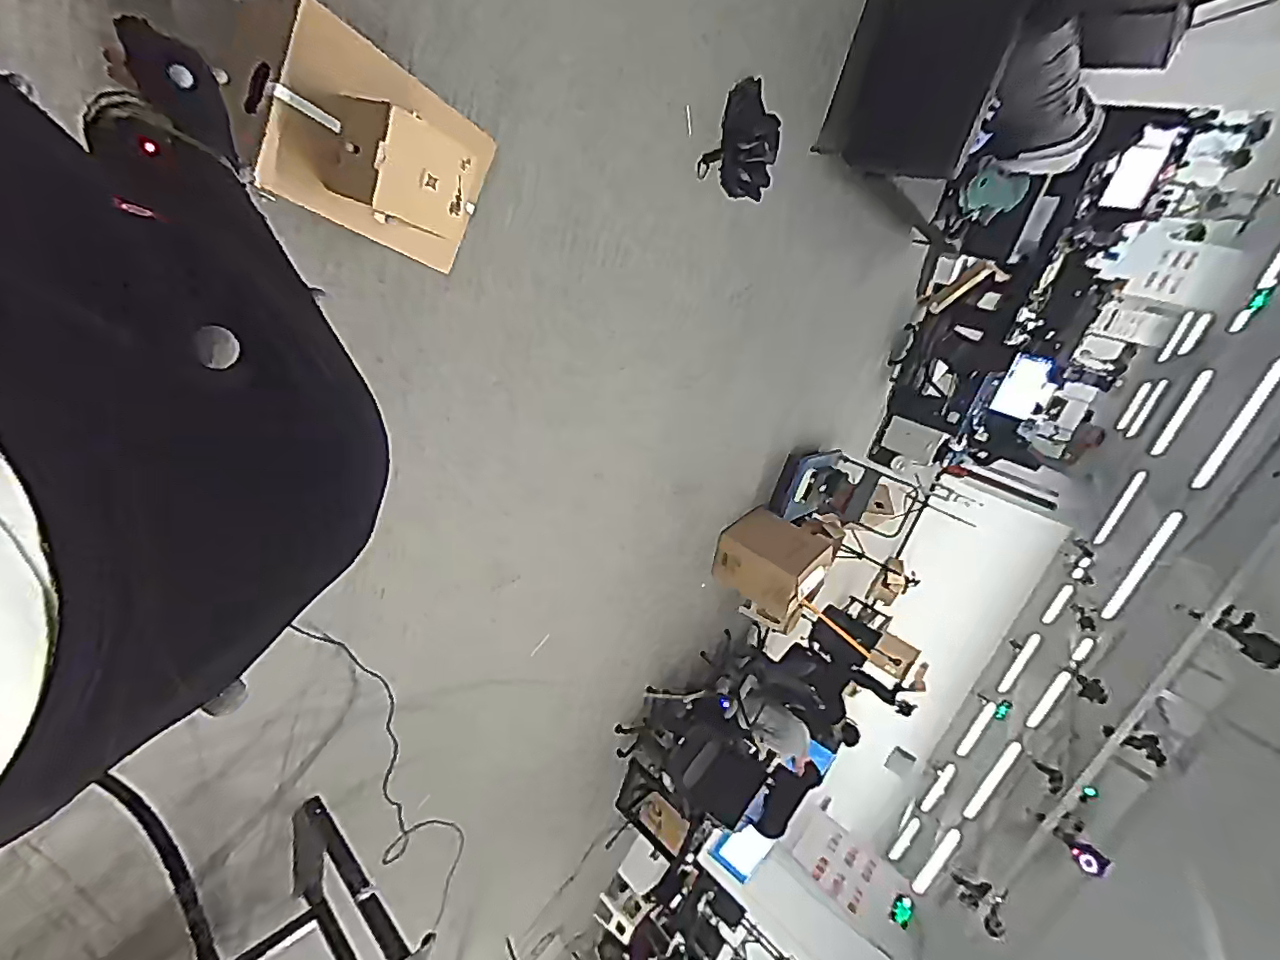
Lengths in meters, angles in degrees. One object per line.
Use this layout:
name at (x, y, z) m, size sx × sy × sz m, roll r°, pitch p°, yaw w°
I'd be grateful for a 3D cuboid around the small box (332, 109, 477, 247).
small box at (-0.440, -0.556, 1.003) m, size 0.179 × 0.176 × 0.168 m, roll 0°, pitch 115°, yaw -54°
